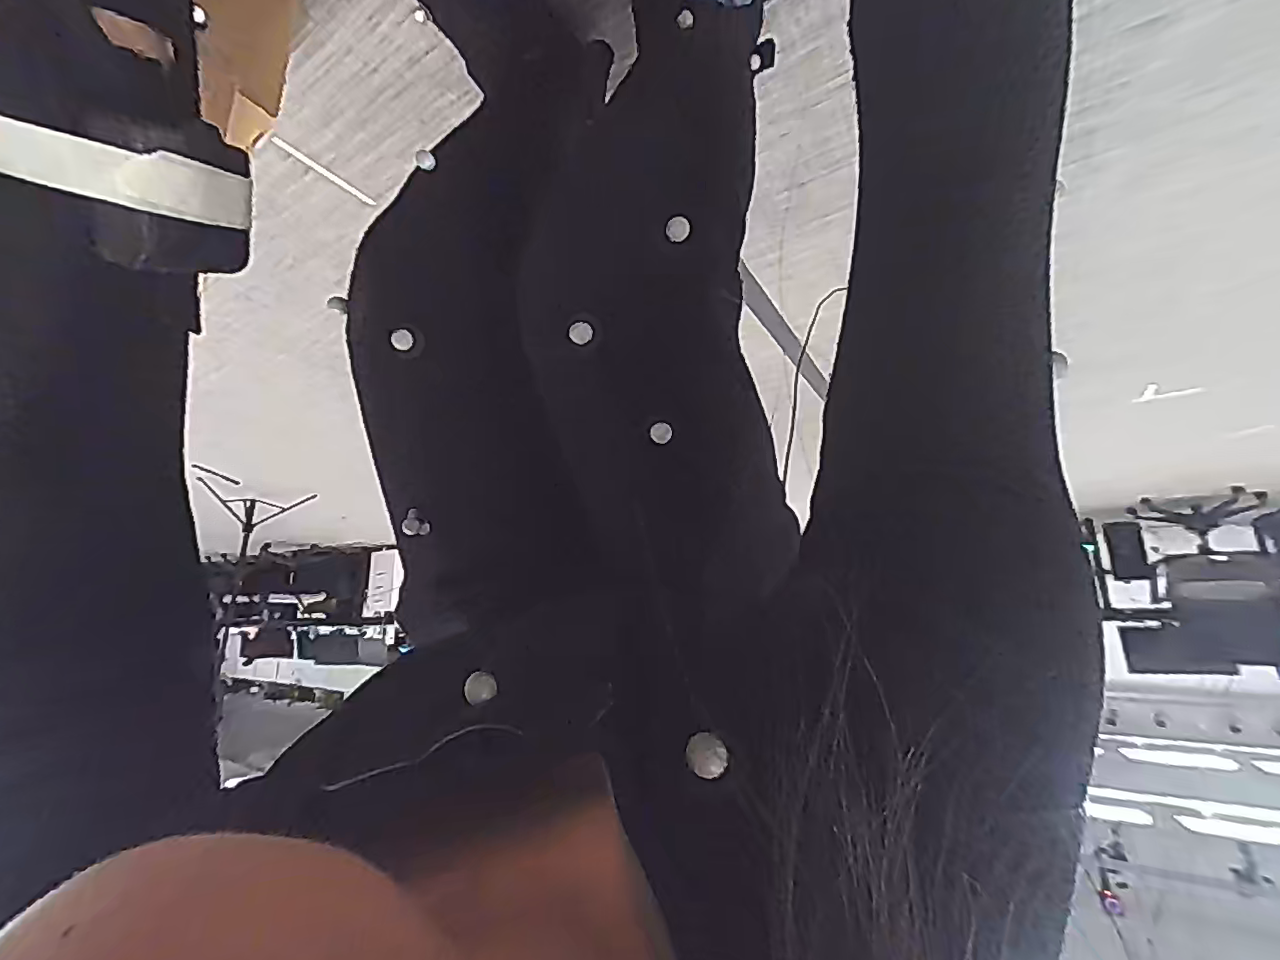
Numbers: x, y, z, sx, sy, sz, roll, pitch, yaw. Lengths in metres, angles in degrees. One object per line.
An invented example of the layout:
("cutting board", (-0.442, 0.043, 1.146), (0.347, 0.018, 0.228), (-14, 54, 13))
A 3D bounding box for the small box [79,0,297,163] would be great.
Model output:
("small box", (-0.464, -0.440, 0.520), (0.168, 0.176, 0.179), (-9, 164, 33))

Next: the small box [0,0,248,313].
("small box", (-0.473, -0.281, 0.476), (0.179, 0.176, 0.168), (9, 165, -42))
